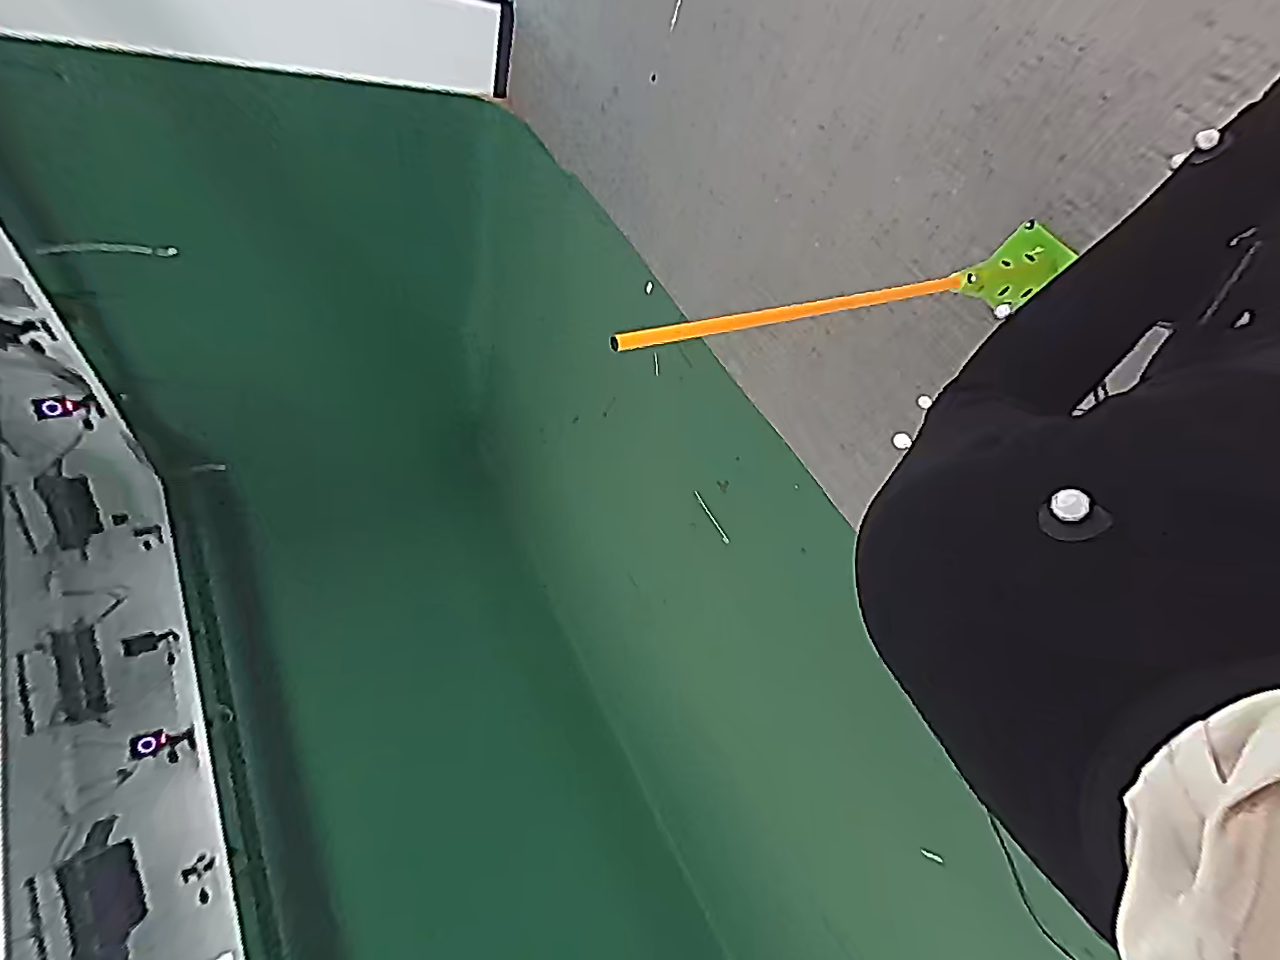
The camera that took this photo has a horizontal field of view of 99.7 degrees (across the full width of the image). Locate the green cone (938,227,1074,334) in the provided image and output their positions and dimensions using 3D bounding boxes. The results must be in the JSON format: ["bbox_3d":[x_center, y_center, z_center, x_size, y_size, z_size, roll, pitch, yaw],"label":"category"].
[{"bbox_3d":[0.813,-0.461,1.287,0.202,0.368,0.200,58,145,21],"label":"green cone"}]
